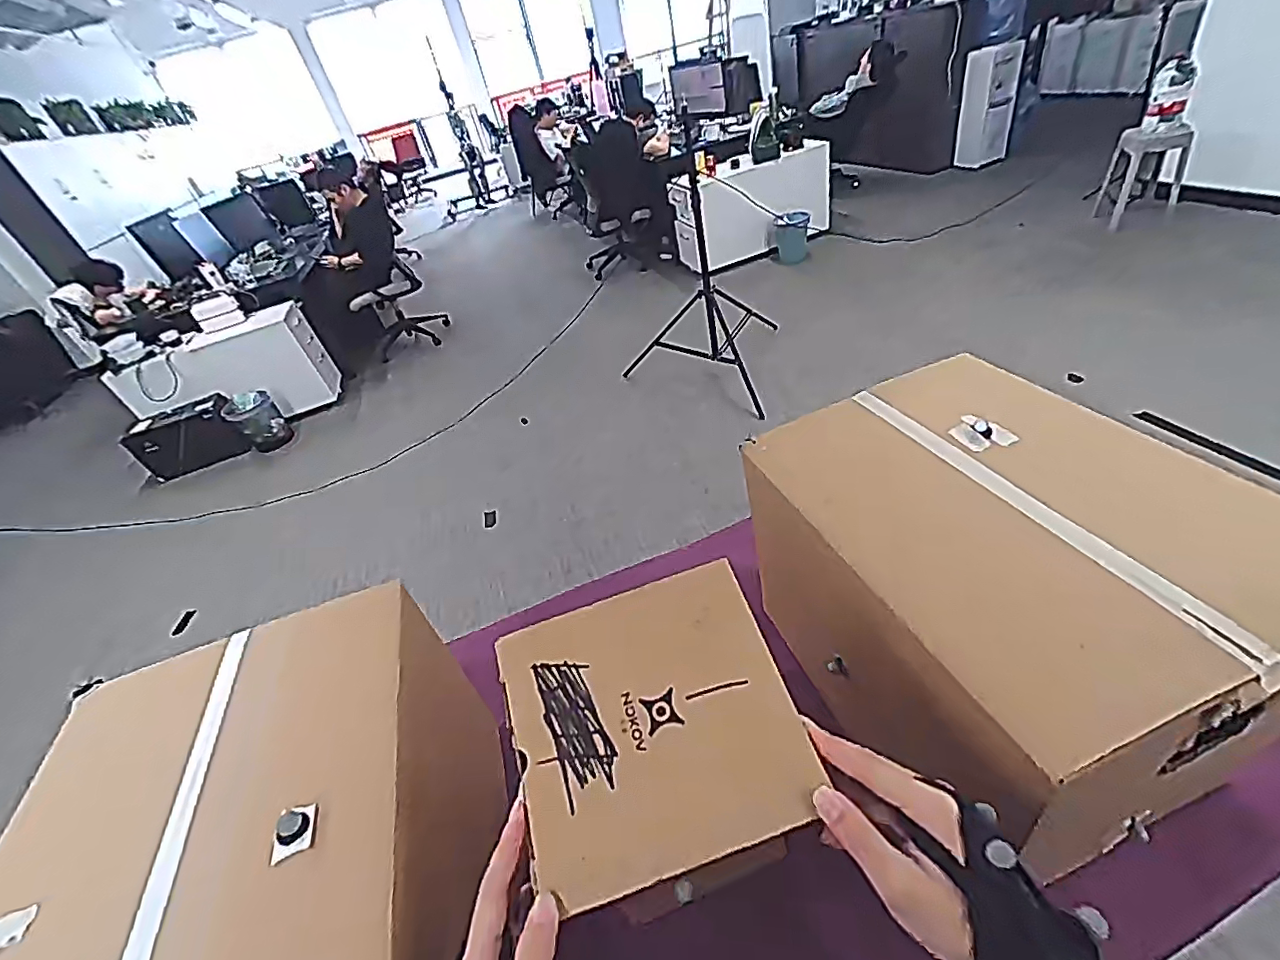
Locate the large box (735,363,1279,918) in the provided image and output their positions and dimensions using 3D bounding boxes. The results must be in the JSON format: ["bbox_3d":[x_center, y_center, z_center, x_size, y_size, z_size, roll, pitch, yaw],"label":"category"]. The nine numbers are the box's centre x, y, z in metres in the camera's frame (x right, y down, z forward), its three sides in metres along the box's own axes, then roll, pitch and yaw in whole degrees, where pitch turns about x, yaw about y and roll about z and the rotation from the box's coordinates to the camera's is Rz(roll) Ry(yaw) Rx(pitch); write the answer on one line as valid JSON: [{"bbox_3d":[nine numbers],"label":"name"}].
[{"bbox_3d":[0.348,0.129,0.575,0.320,0.320,0.408,-21,37,-8],"label":"large box"}]

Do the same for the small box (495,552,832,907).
[{"bbox_3d":[0.014,0.184,0.400,0.179,0.176,0.168,-19,55,-4],"label":"small box"}]
